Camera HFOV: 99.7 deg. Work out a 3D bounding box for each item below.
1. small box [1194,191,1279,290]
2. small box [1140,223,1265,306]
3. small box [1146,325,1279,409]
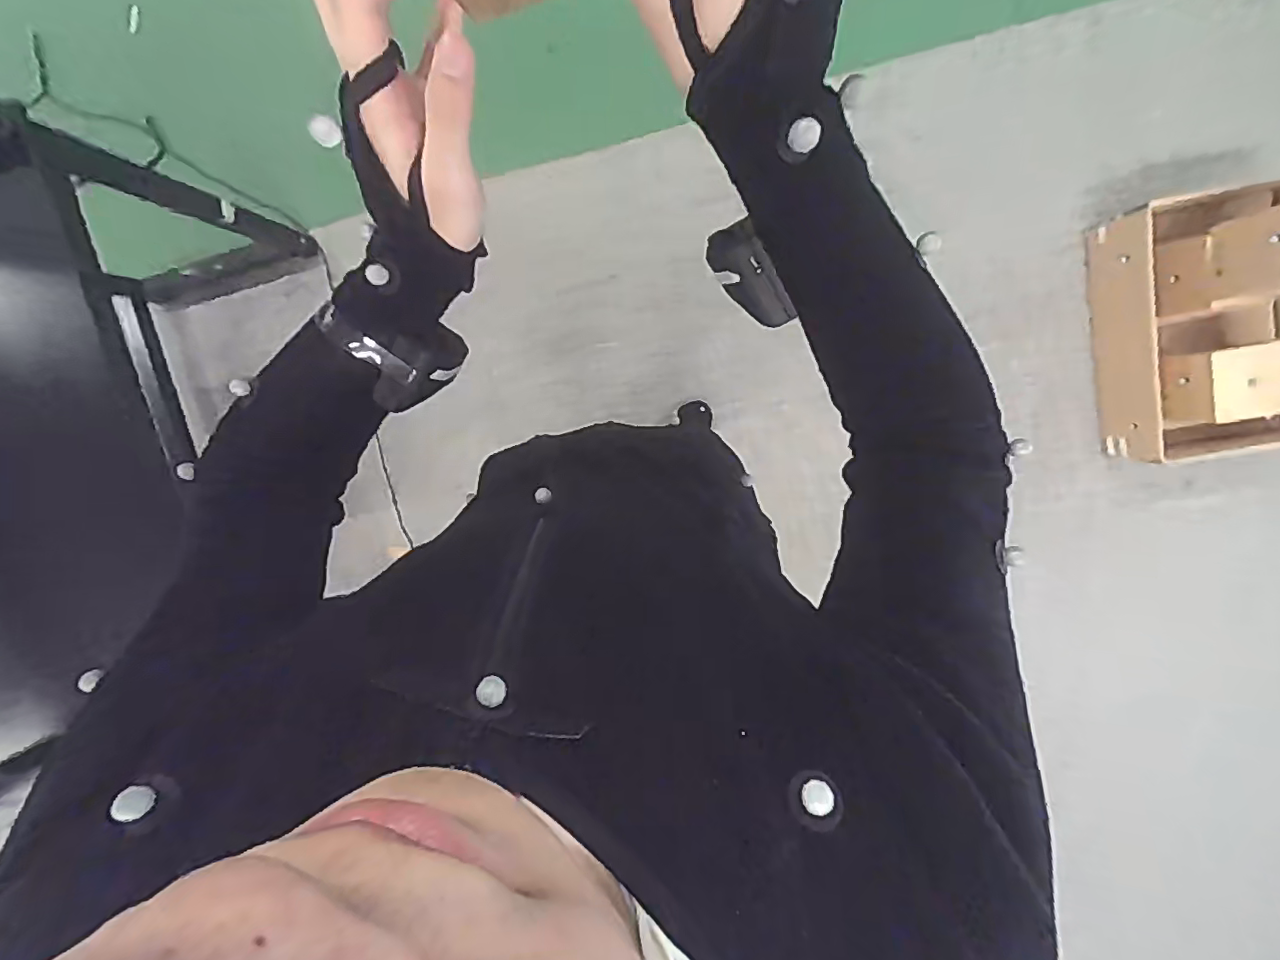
[{"bbox_3d":[1.340,-0.506,1.136,0.179,0.176,0.168,-6,99,5],"label":"small box"},{"bbox_3d":[1.353,-0.526,1.298,0.179,0.176,0.168,-12,99,7],"label":"small box"},{"bbox_3d":[1.405,-0.272,1.336,0.179,0.176,0.168,-11,97,7],"label":"small box"}]
